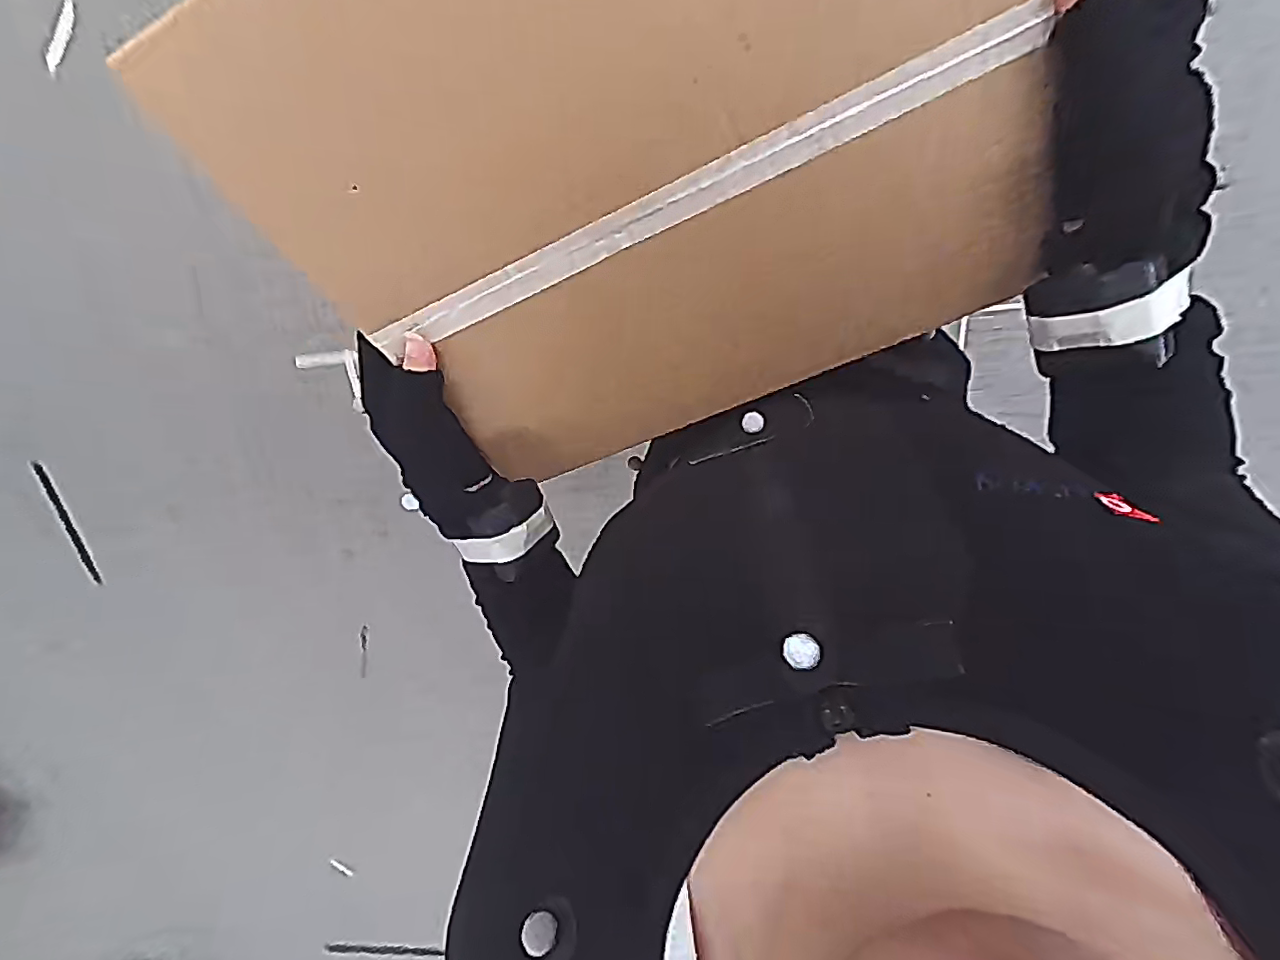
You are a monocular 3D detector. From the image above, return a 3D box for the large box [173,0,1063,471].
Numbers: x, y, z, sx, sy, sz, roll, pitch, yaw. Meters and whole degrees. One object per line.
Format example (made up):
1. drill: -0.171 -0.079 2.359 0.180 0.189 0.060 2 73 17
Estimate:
1. large box: 0.009 -0.271 0.404 0.408 0.320 0.320 -20 136 13
